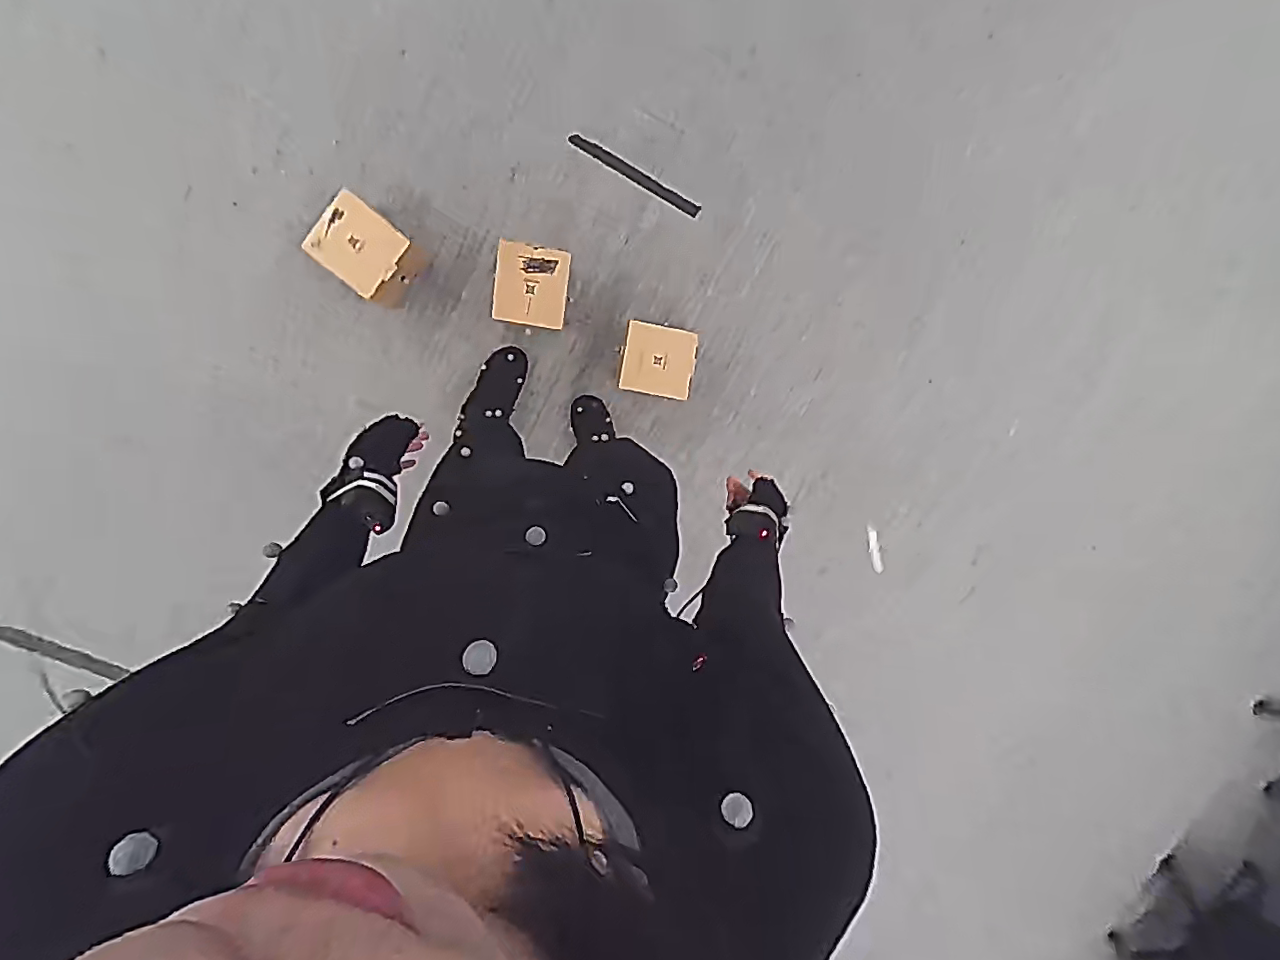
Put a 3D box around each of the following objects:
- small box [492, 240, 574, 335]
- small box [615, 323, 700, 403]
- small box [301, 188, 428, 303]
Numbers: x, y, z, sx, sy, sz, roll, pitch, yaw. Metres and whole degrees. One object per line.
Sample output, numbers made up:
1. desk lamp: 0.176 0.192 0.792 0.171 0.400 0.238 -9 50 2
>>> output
1. small box: -0.255 -0.457 1.308 0.168 0.176 0.179 8 102 -8
2. small box: 0.037 -0.297 1.378 0.179 0.176 0.168 9 100 -7
3. small box: -0.625 -0.531 1.254 0.179 0.176 0.168 41 95 -13
